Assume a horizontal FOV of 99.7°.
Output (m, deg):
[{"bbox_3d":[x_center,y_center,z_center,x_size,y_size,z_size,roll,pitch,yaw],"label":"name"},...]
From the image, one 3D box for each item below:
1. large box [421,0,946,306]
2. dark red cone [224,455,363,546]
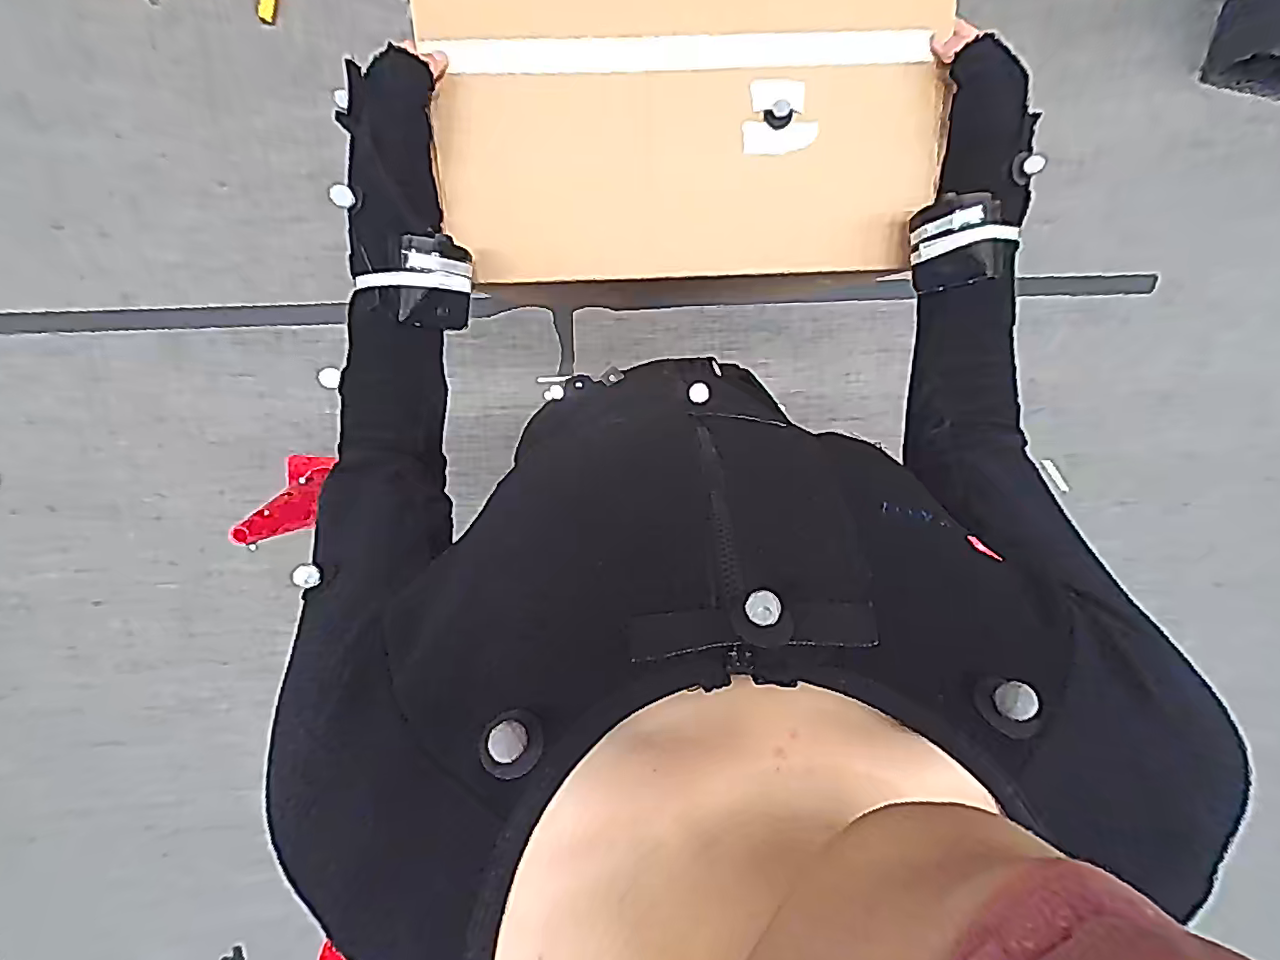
[{"bbox_3d":[0.027,-0.361,0.558,0.408,0.320,0.320,-3,105,-3],"label":"large box"},{"bbox_3d":[-0.810,0.074,1.242,0.201,0.394,0.202,3,102,-6],"label":"dark red cone"}]
